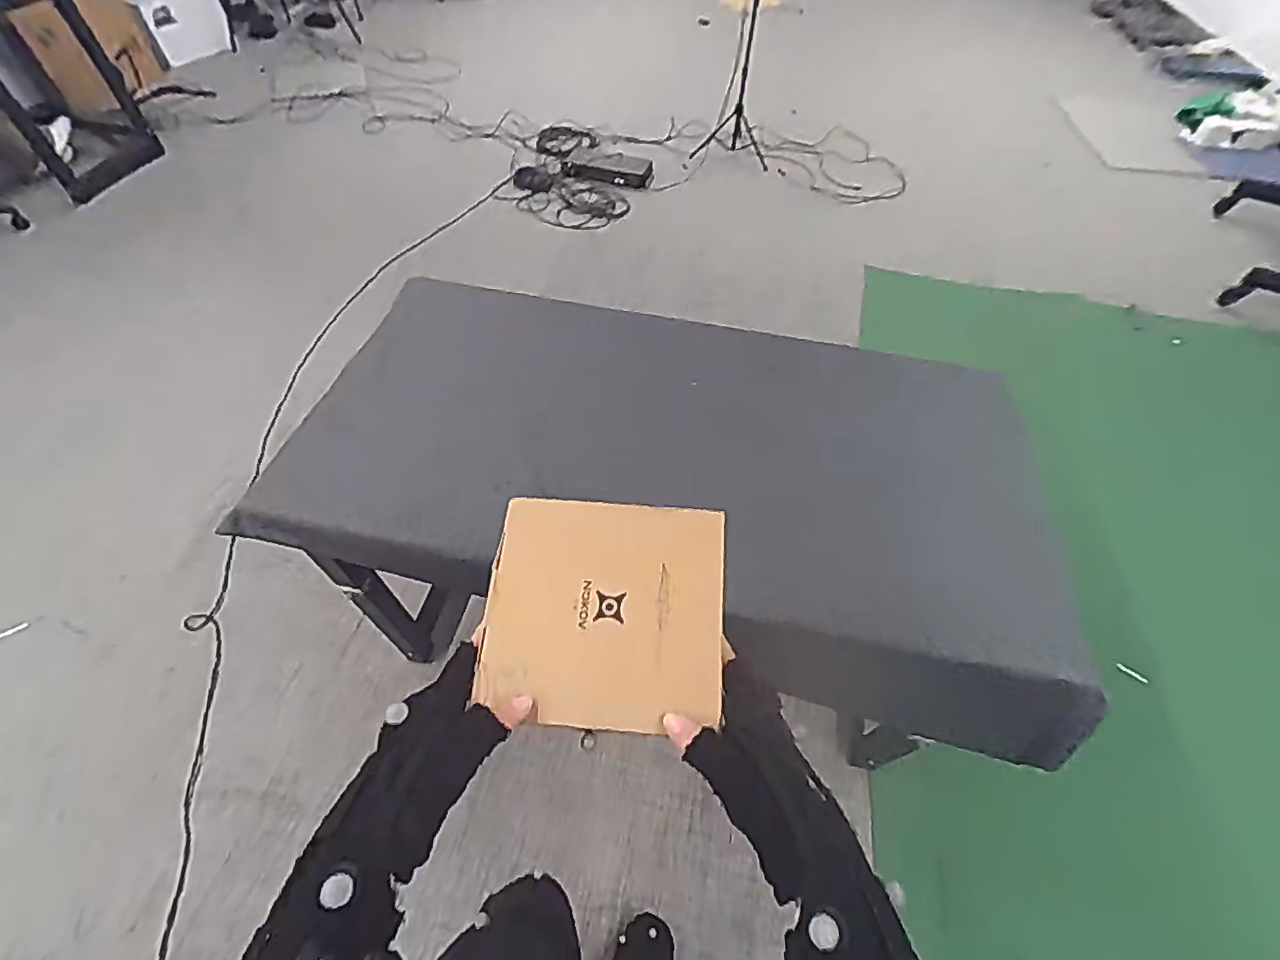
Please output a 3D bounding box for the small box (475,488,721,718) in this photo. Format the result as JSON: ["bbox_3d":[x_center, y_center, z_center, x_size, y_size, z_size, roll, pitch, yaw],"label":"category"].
[{"bbox_3d":[-0.024,0.116,0.479,0.179,0.176,0.168,2,67,2],"label":"small box"}]
